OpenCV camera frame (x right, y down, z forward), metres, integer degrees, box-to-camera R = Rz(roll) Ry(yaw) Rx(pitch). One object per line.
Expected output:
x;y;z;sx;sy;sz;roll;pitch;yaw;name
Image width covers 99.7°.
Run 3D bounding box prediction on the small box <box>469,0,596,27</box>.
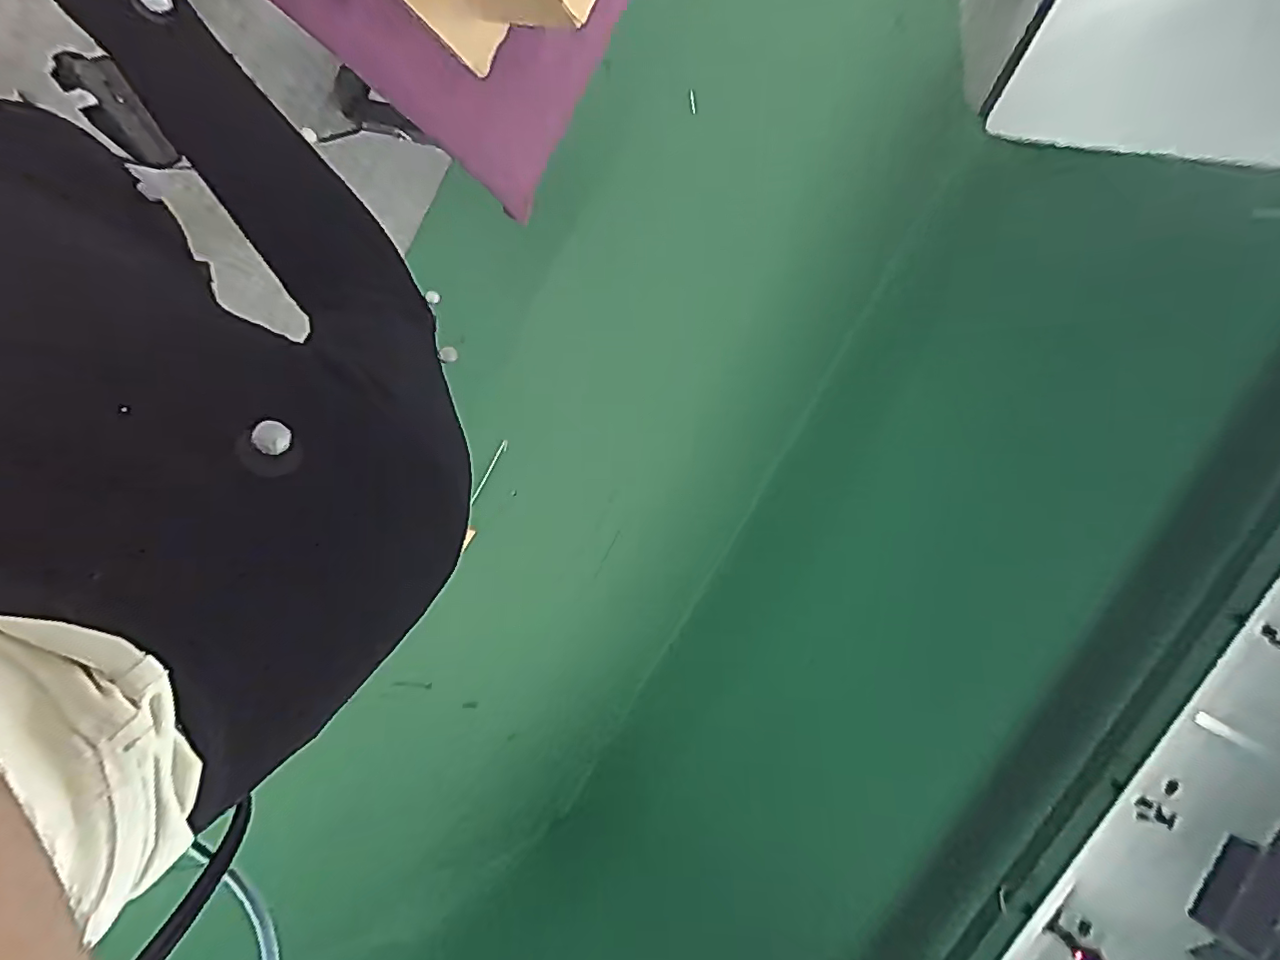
-0.120;-0.591;0.520;0.168;0.176;0.179;14;107;-58;small box
